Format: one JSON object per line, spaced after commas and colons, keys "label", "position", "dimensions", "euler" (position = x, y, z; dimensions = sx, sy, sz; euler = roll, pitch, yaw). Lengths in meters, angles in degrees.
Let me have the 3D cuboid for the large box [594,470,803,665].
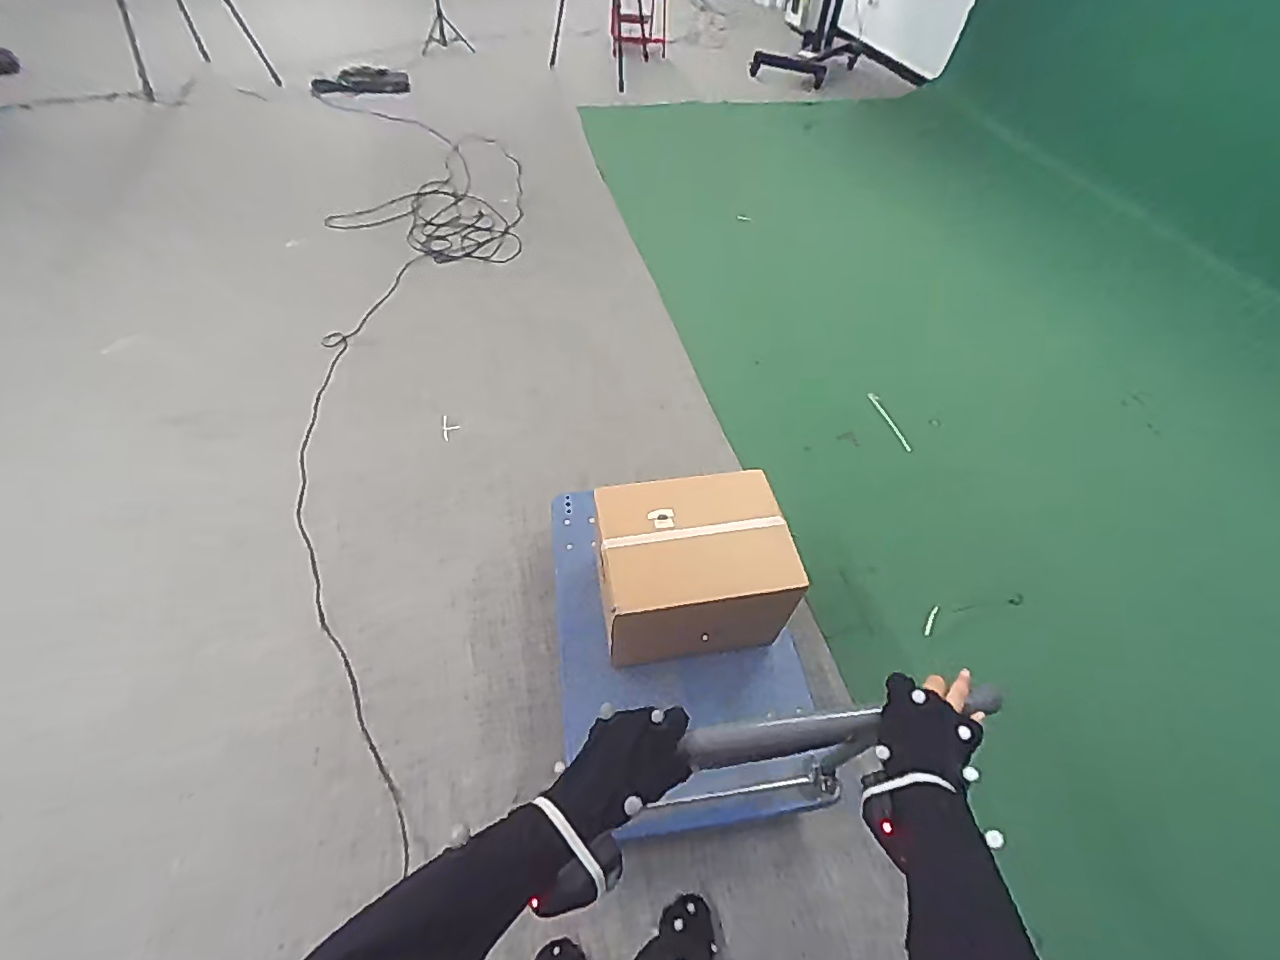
{"label": "large box", "position": [0.113, 0.212, 1.293], "dimensions": [0.408, 0.320, 0.320], "euler": [-8, 52, -8]}
